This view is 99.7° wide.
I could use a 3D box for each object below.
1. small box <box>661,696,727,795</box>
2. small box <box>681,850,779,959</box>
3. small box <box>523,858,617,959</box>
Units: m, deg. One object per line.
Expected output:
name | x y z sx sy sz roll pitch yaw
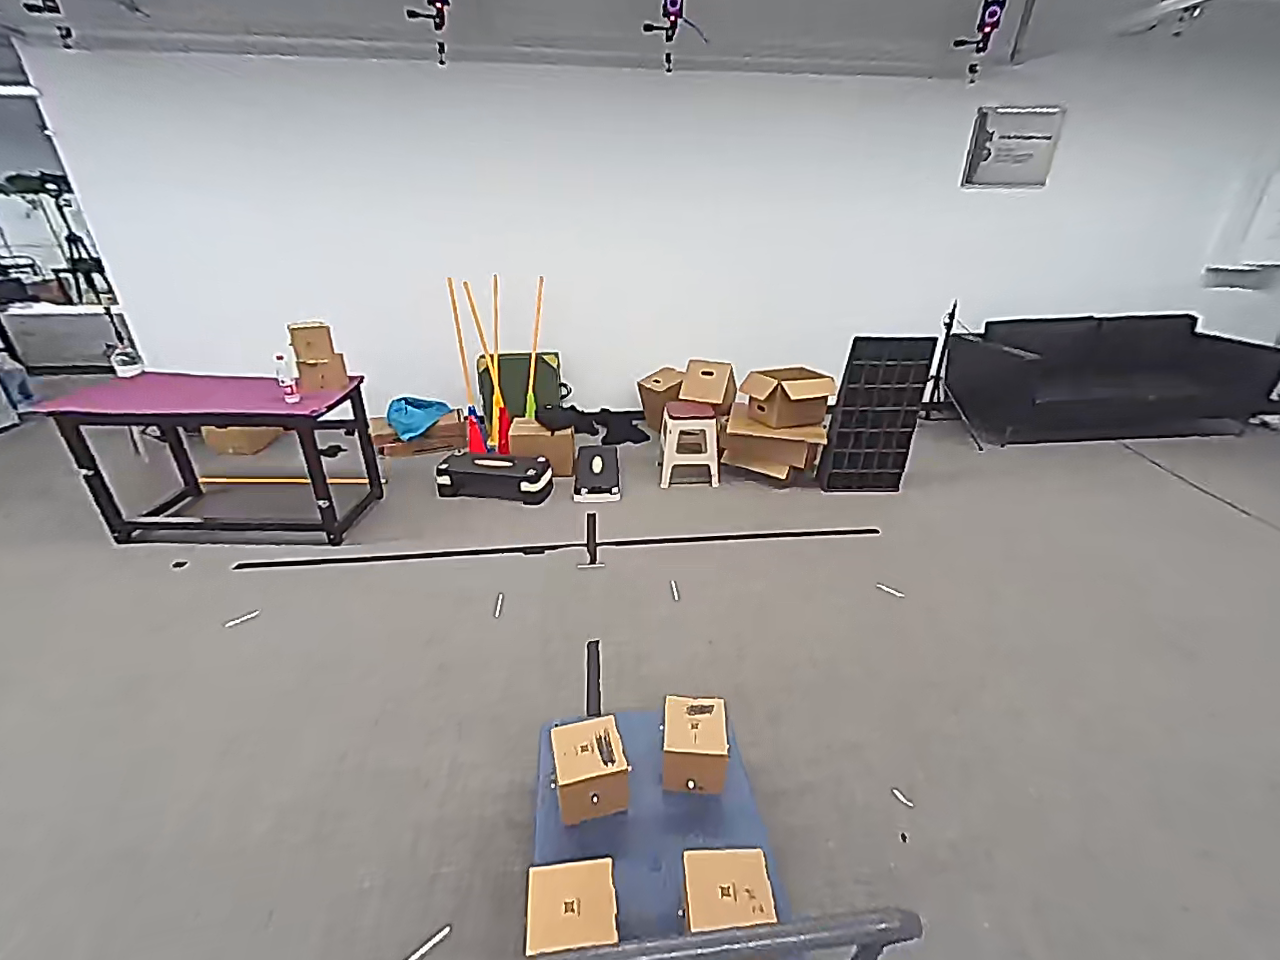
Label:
small box | 0.145 0.726 1.485 0.168 0.176 0.179 3 28 4
small box | 0.177 0.908 1.128 0.179 0.176 0.168 0 27 -1
small box | -0.140 0.916 1.104 0.179 0.176 0.168 -1 27 -8
